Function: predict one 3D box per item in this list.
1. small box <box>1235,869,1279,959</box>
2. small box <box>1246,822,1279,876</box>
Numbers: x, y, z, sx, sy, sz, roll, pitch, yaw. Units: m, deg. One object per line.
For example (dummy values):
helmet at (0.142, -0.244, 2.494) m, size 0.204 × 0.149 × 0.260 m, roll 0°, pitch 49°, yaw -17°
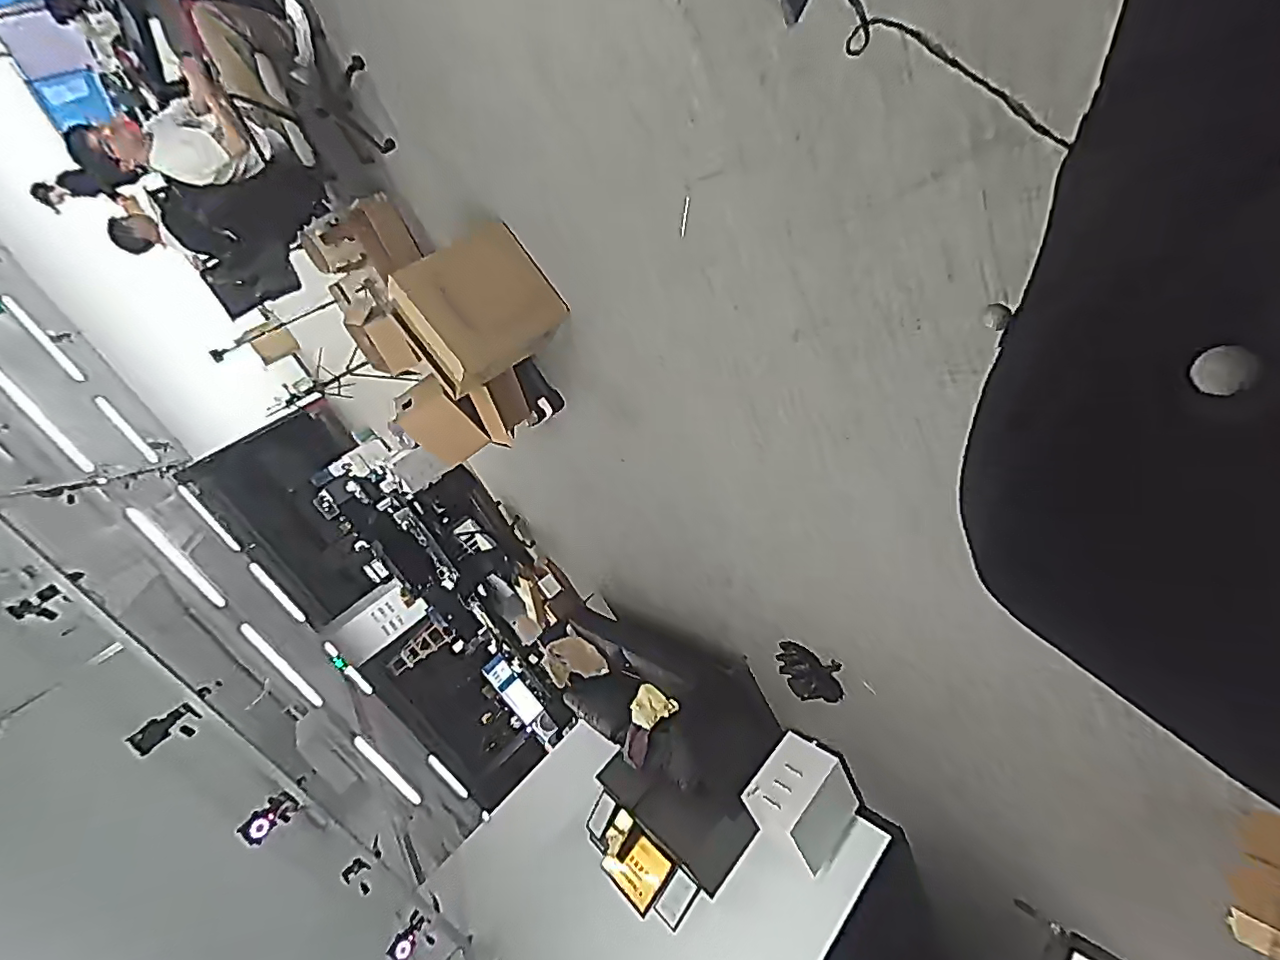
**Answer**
small box at (1.757, 1.203, 1.462) m, size 0.179 × 0.176 × 0.168 m, roll 7°, pitch 131°, yaw 54°
small box at (1.874, 1.120, 1.539) m, size 0.179 × 0.176 × 0.168 m, roll 3°, pitch 127°, yaw 54°
